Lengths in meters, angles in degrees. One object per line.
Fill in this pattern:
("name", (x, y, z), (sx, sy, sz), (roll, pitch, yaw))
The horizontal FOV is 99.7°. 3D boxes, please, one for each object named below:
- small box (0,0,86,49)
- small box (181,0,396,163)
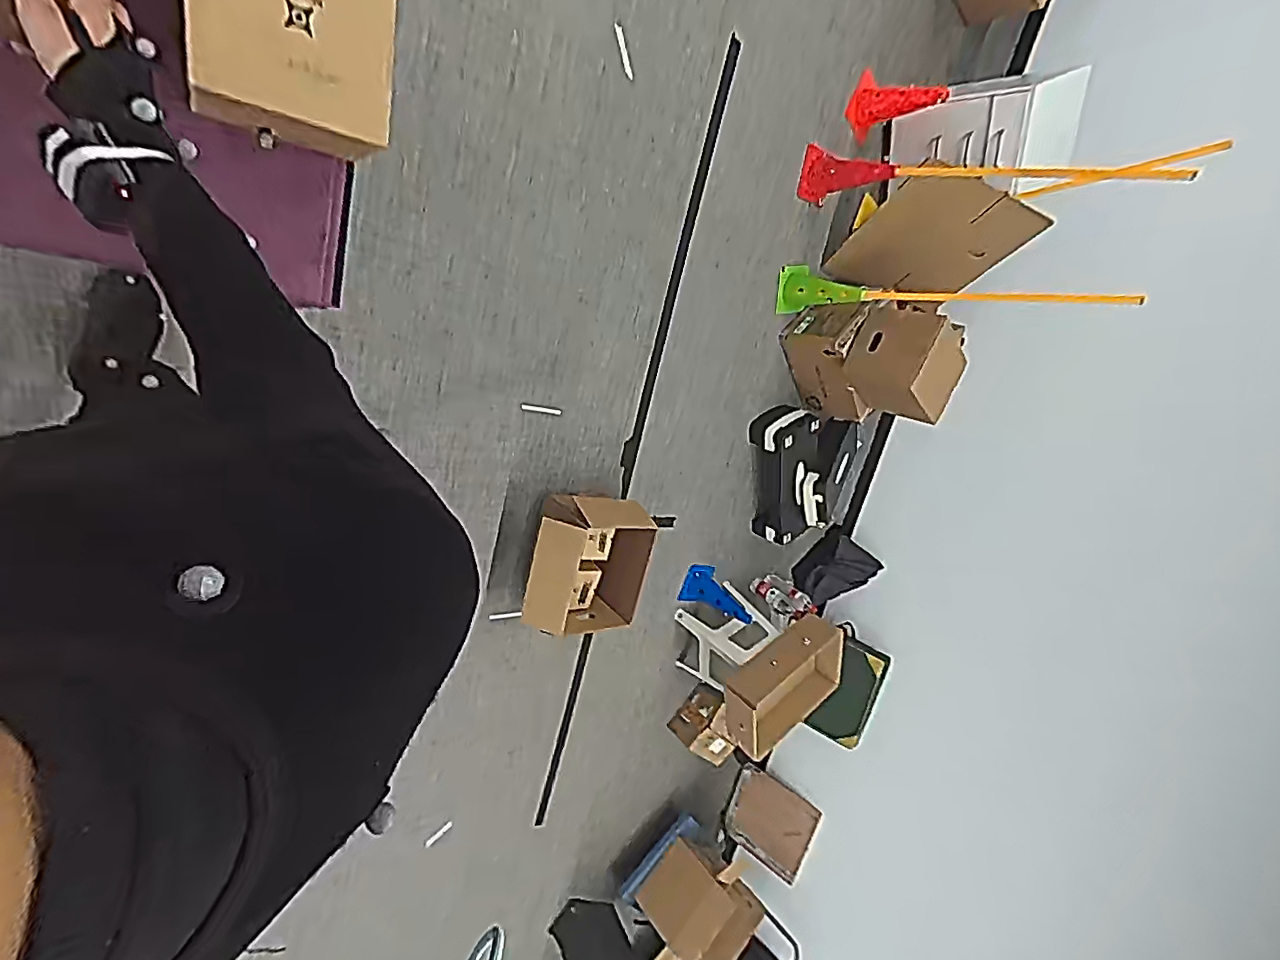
("small box", (-0.542, -0.461, 0.397), (0.168, 0.176, 0.179), (-7, 114, -39))
("small box", (-0.364, -0.453, 0.556), (0.168, 0.176, 0.179), (-2, 111, -39))
